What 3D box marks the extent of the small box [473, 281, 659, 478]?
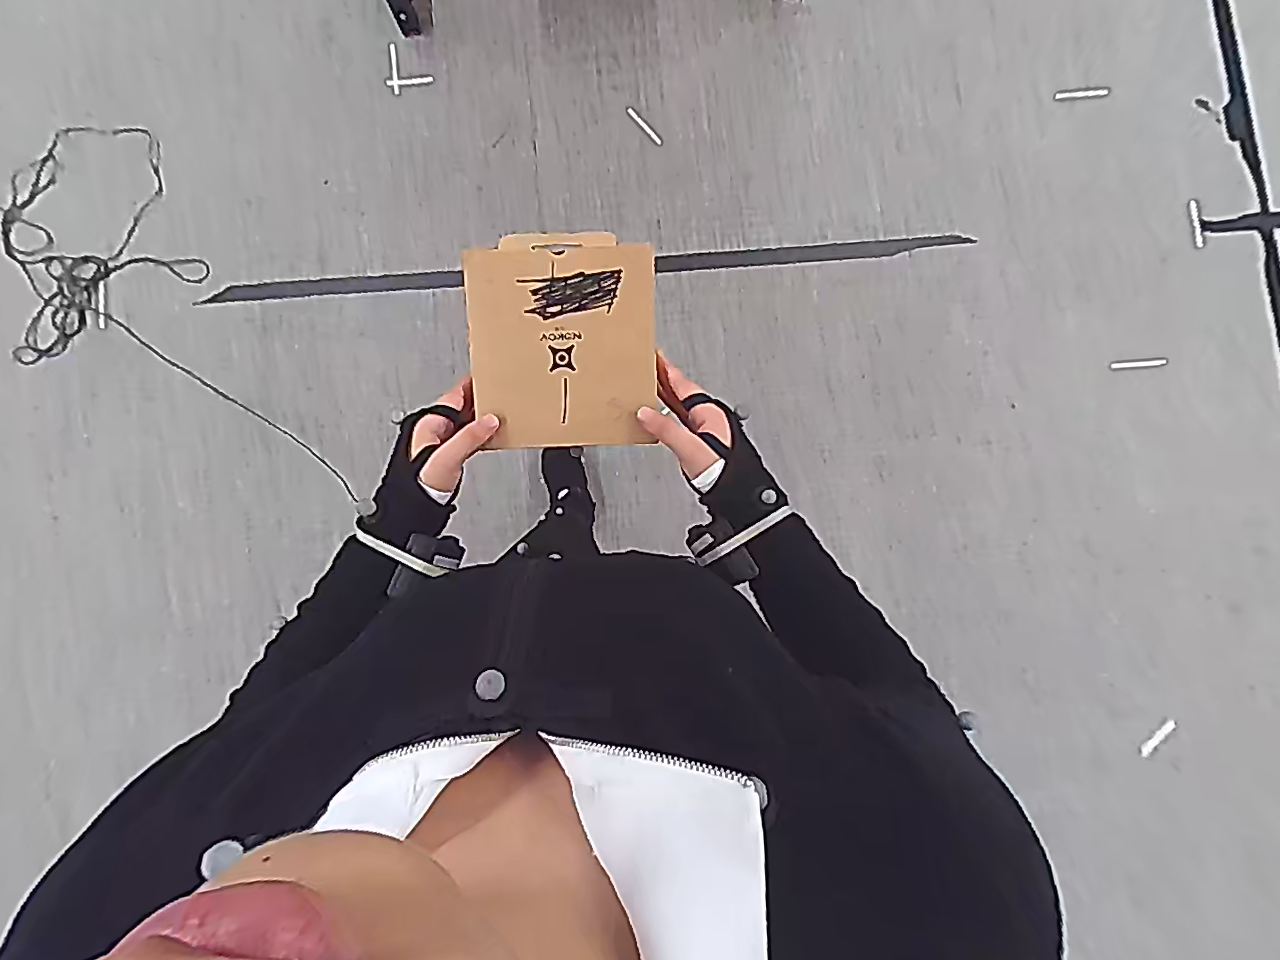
[{"bbox_3d":[-0.068,-0.098,0.570,0.168,0.176,0.179,-2,97,0],"label":"small box"}]
